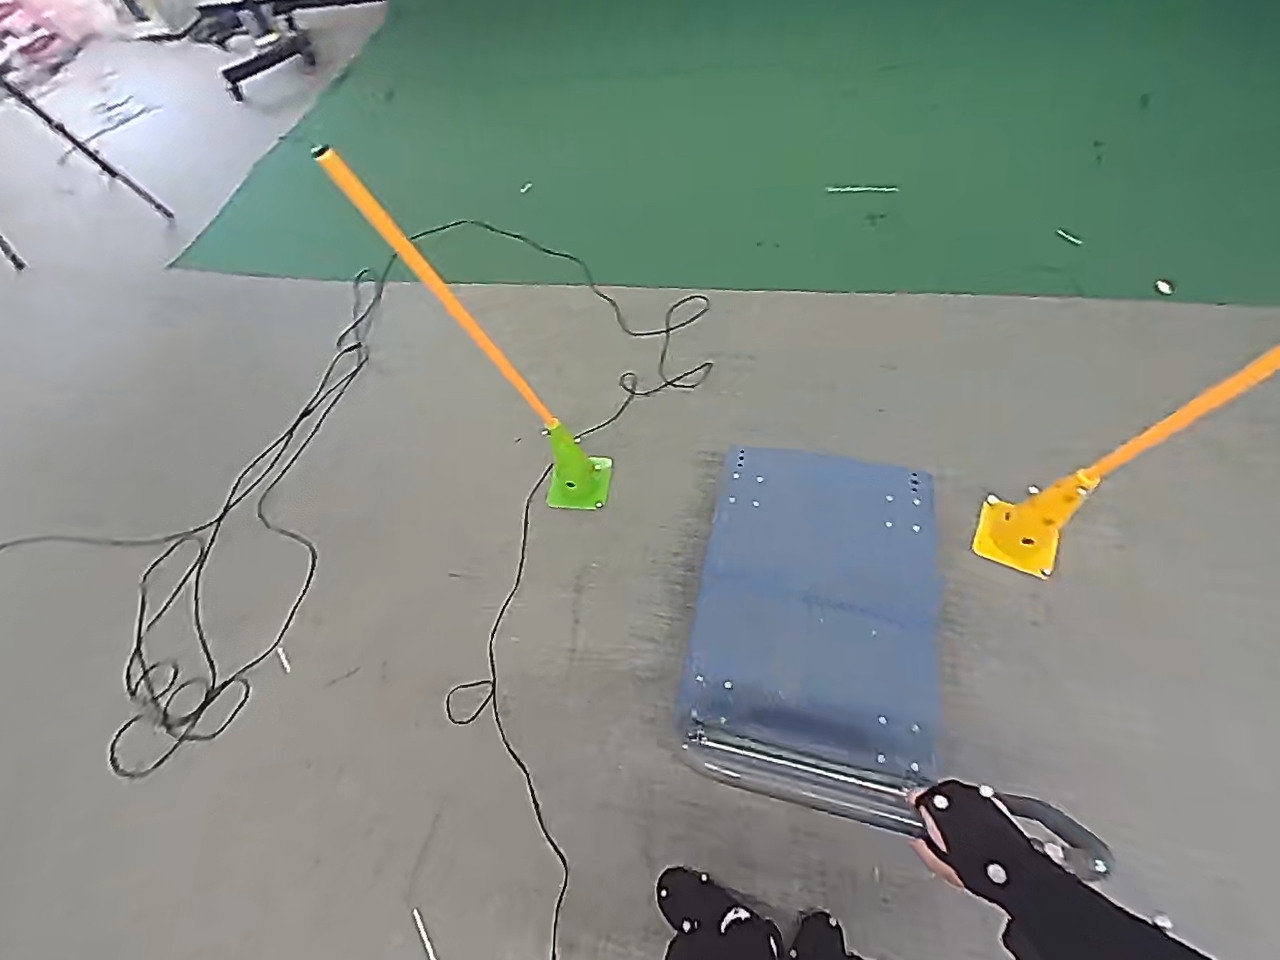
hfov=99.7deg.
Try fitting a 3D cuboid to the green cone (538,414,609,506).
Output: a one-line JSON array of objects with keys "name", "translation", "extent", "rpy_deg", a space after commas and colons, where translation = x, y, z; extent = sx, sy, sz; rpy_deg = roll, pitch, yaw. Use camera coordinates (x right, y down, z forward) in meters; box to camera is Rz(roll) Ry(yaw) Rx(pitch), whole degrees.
[{"name": "green cone", "translation": [-0.236, -0.088, 1.679], "extent": [0.202, 0.368, 0.200], "rpy_deg": [1, 61, 11]}]
